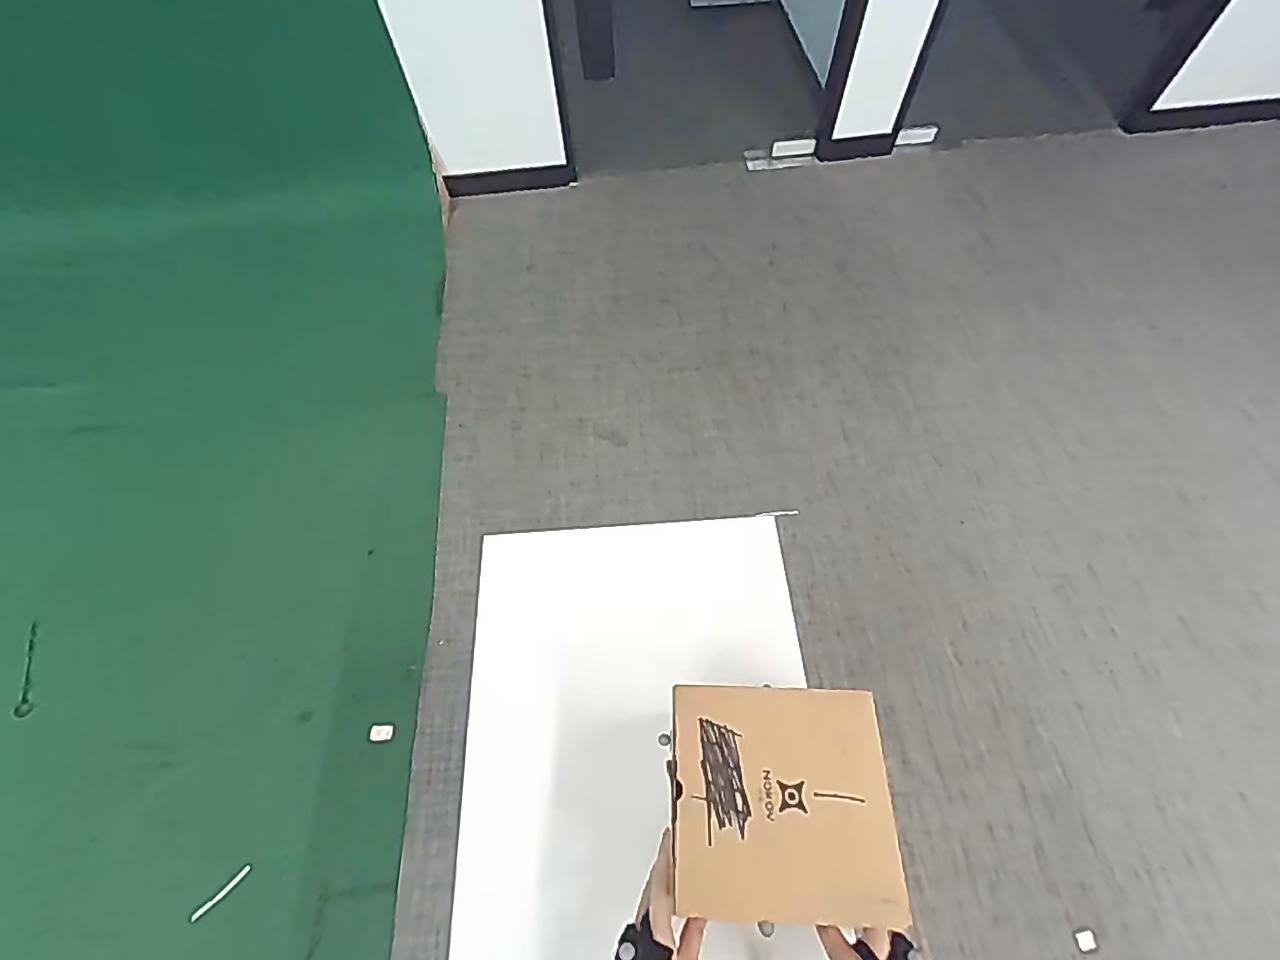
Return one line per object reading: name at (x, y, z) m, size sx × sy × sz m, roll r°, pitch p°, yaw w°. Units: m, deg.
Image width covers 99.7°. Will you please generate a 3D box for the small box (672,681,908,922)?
small box at (0.119, 0.295, 0.511) m, size 0.179 × 0.176 × 0.168 m, roll 1°, pitch 59°, yaw 3°
